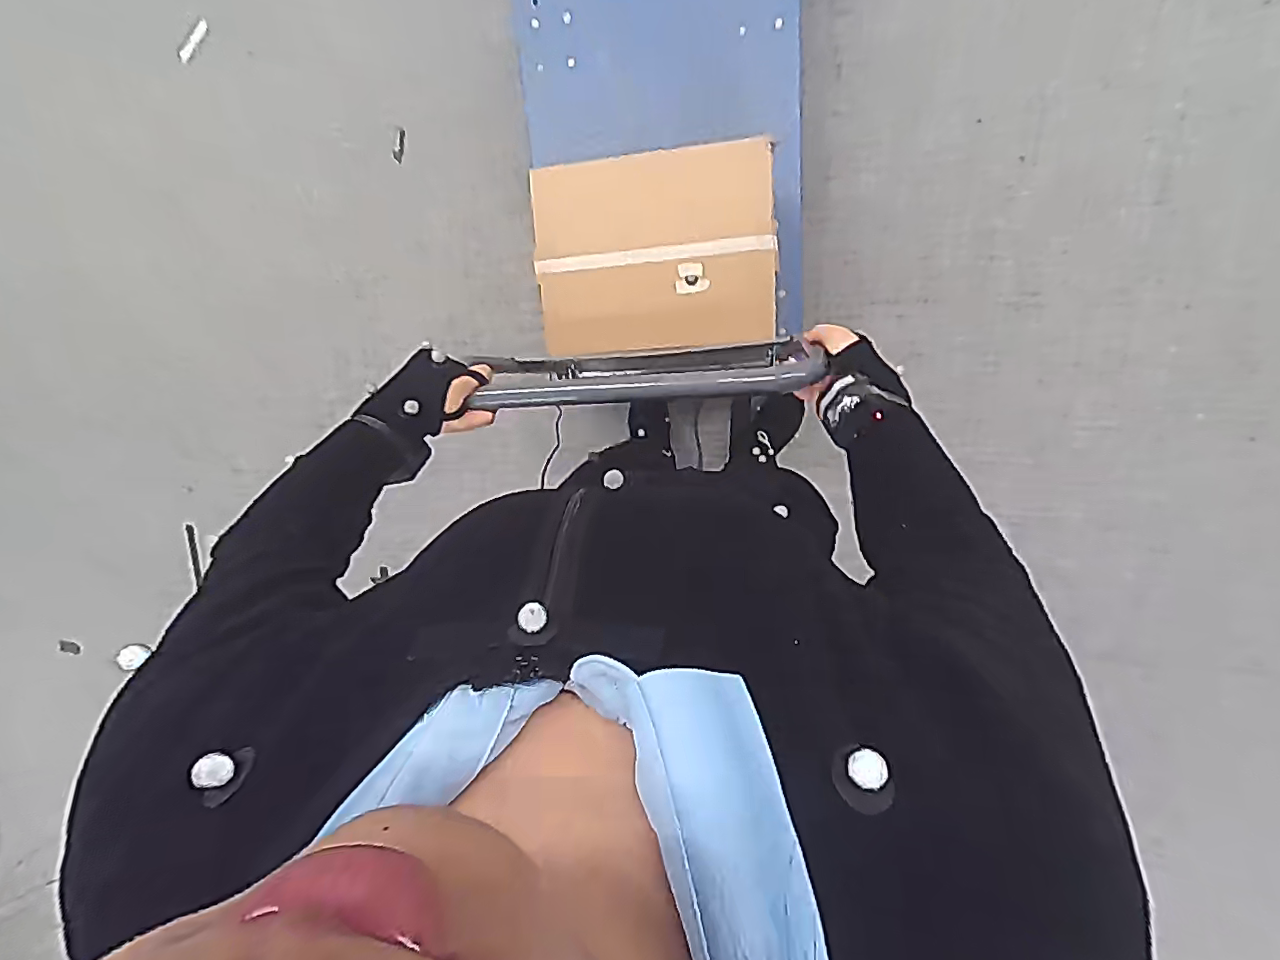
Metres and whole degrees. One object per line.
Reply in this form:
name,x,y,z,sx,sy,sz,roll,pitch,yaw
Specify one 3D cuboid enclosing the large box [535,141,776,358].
large box,0.047,-0.415,1.066,0.408,0.320,0.320,-2,104,10
